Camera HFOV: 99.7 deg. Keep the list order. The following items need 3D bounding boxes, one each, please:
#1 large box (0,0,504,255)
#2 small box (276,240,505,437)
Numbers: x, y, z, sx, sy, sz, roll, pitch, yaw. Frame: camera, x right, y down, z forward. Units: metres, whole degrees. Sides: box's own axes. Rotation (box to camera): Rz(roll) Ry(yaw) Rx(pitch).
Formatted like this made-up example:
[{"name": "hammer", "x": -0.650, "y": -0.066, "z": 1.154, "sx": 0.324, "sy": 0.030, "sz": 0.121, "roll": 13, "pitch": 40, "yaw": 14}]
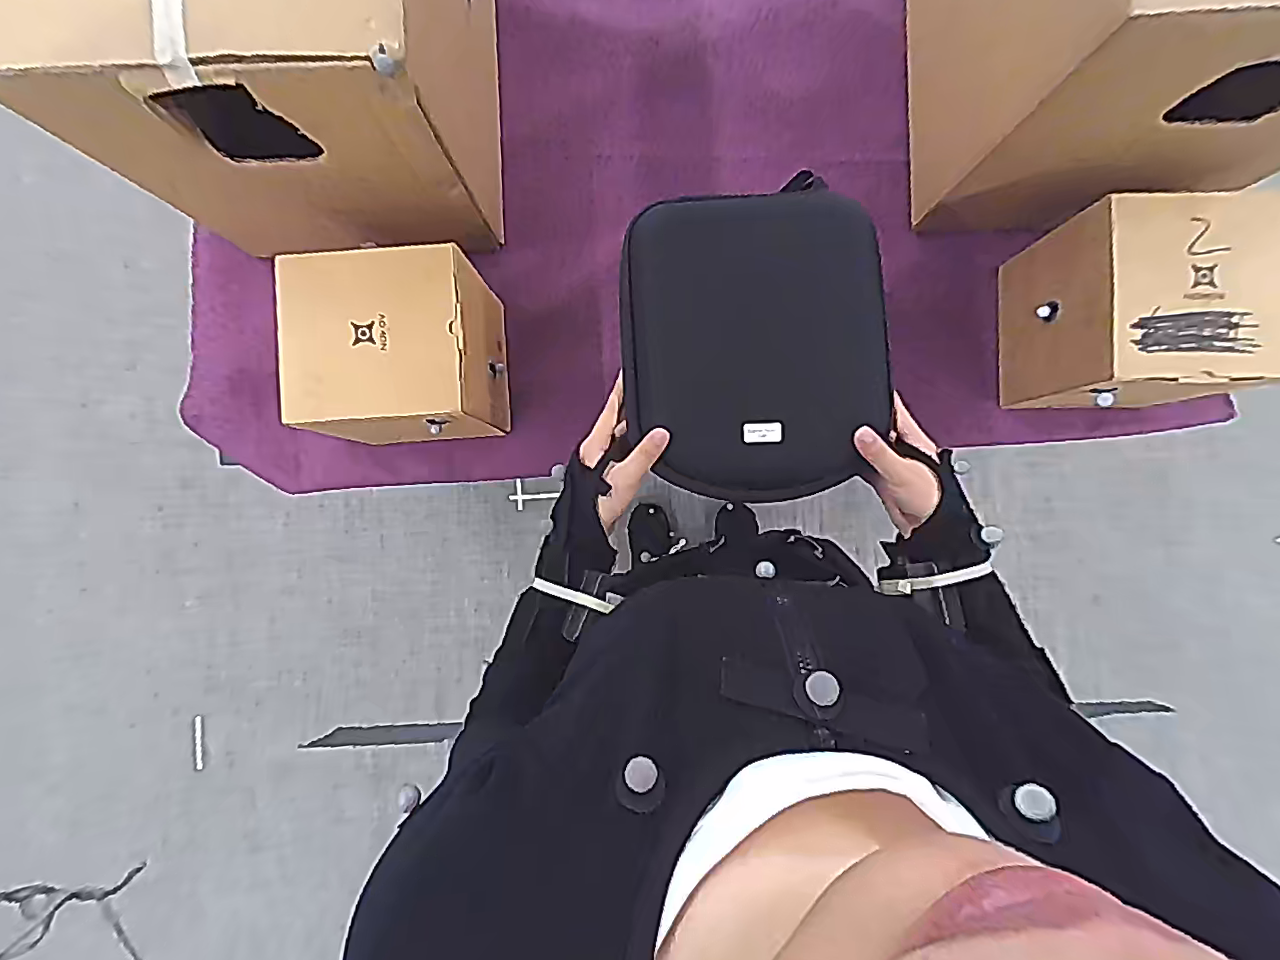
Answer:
[{"name": "large box", "x": -0.331, "y": -0.485, "z": 0.535, "sx": 0.320, "sy": 0.320, "sz": 0.408, "roll": -3, "pitch": 92, "yaw": 0}, {"name": "small box", "x": -0.261, "y": -0.142, "z": 0.600, "sx": 0.179, "sy": 0.176, "sz": 0.168, "roll": -4, "pitch": 88, "yaw": 1}]
